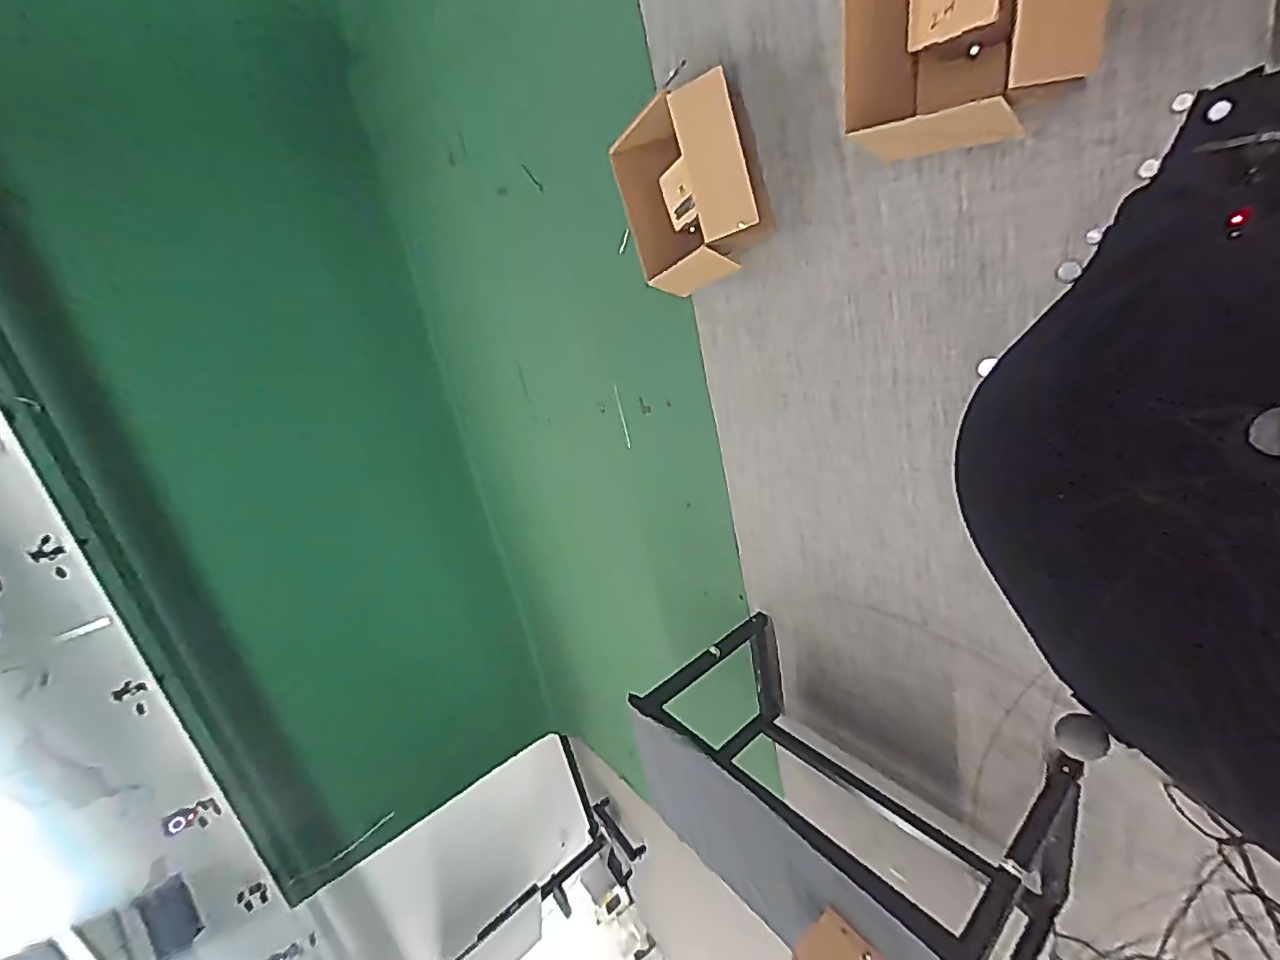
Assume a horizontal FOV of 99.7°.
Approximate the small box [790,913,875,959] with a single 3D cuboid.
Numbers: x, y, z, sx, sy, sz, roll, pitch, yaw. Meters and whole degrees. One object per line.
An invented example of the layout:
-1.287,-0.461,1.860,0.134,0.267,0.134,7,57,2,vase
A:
0.497,1.265,1.371,0.168,0.176,0.179,20,127,49,small box
